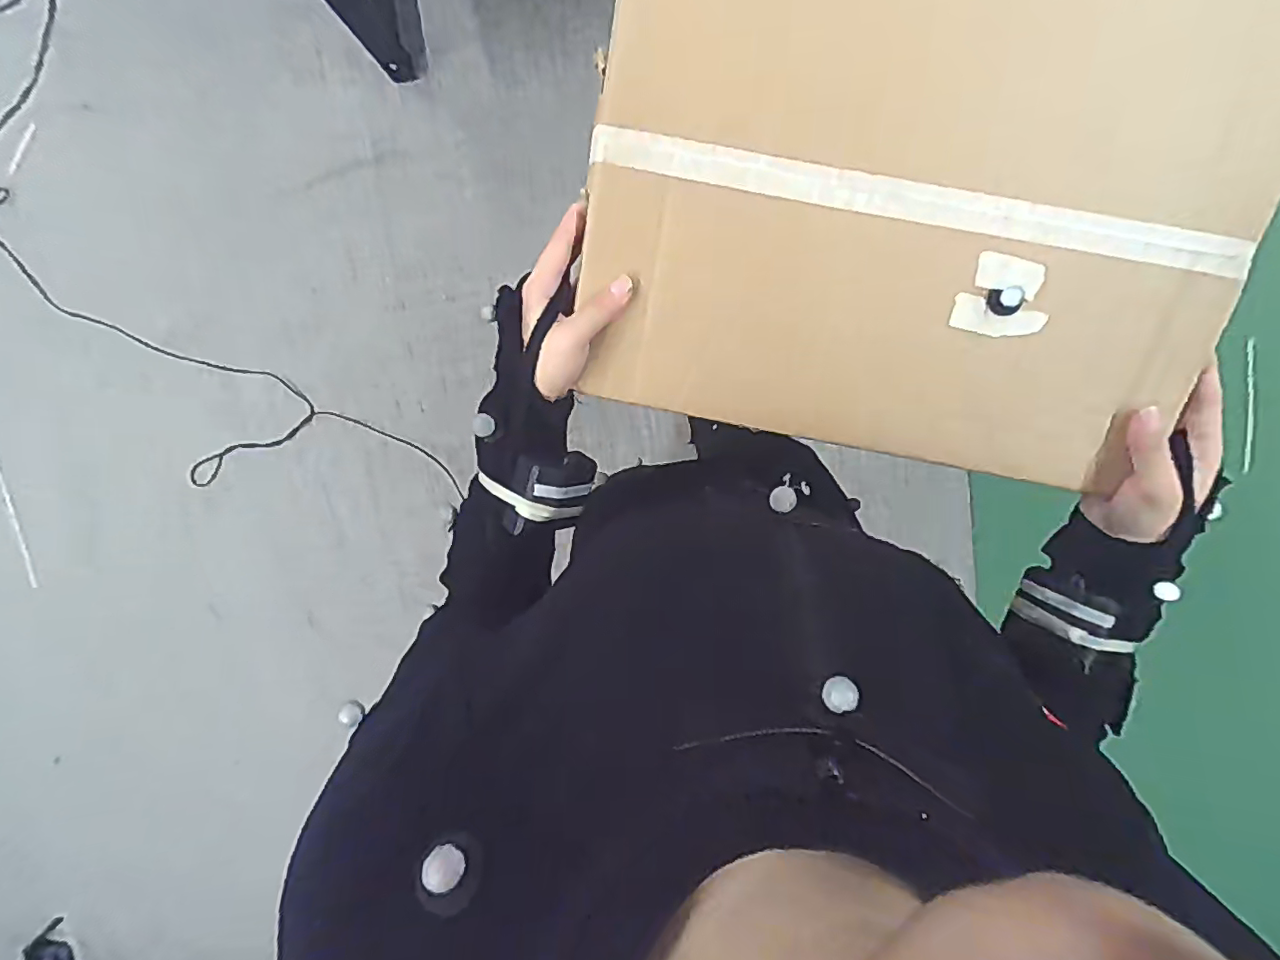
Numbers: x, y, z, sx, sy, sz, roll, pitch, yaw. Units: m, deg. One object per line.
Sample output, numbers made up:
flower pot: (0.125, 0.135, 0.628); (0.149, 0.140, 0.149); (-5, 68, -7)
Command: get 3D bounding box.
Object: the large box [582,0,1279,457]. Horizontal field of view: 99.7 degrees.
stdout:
large box: (0.180, -0.231, 0.482); (0.408, 0.320, 0.320); (10, 108, 0)
